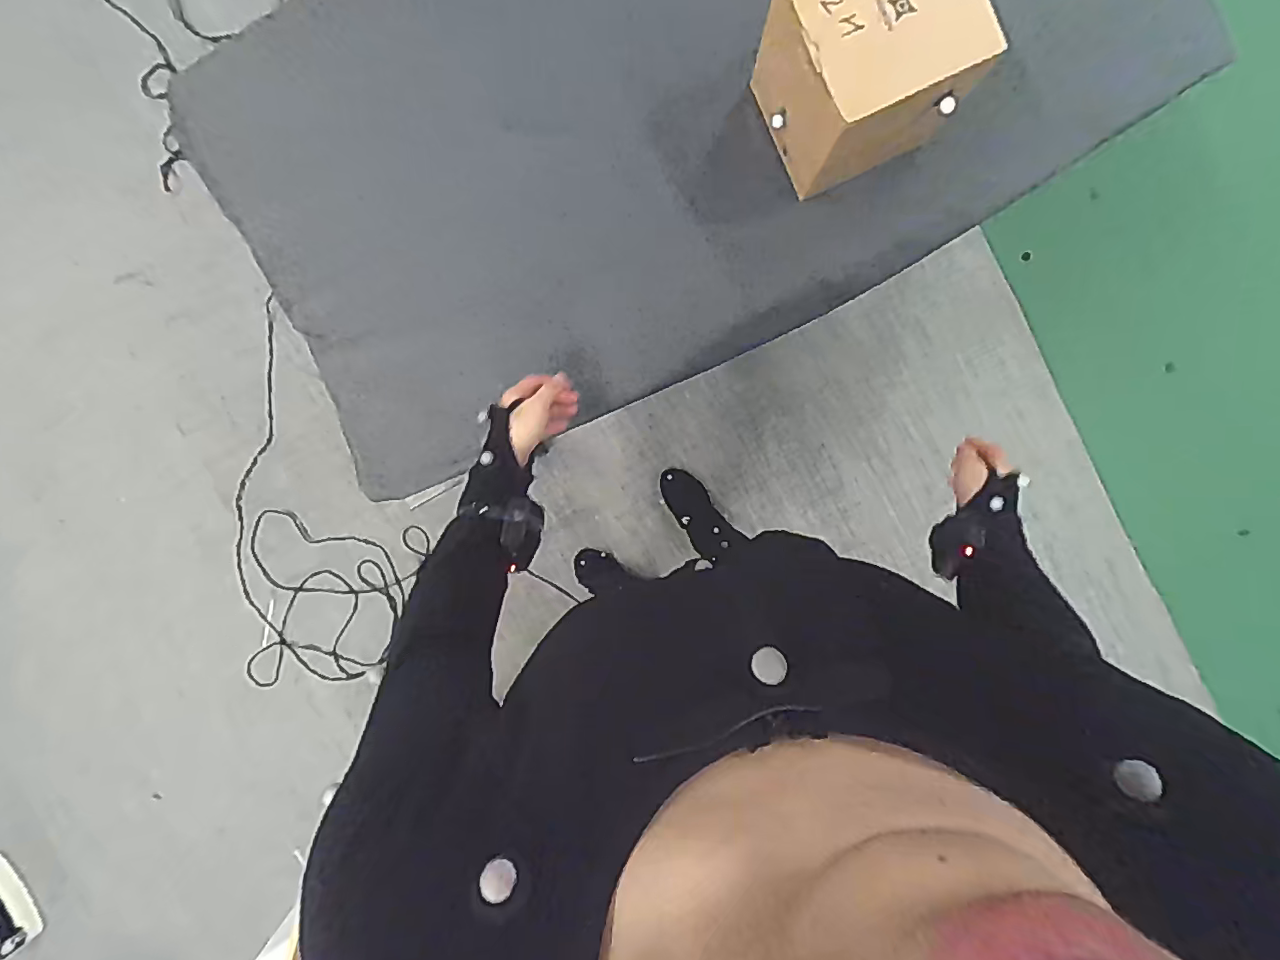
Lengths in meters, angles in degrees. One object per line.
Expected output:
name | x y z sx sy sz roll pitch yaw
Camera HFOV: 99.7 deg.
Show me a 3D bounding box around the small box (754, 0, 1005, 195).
small box | 0.248 -0.462 0.604 0.179 0.176 0.168 -24 93 4
